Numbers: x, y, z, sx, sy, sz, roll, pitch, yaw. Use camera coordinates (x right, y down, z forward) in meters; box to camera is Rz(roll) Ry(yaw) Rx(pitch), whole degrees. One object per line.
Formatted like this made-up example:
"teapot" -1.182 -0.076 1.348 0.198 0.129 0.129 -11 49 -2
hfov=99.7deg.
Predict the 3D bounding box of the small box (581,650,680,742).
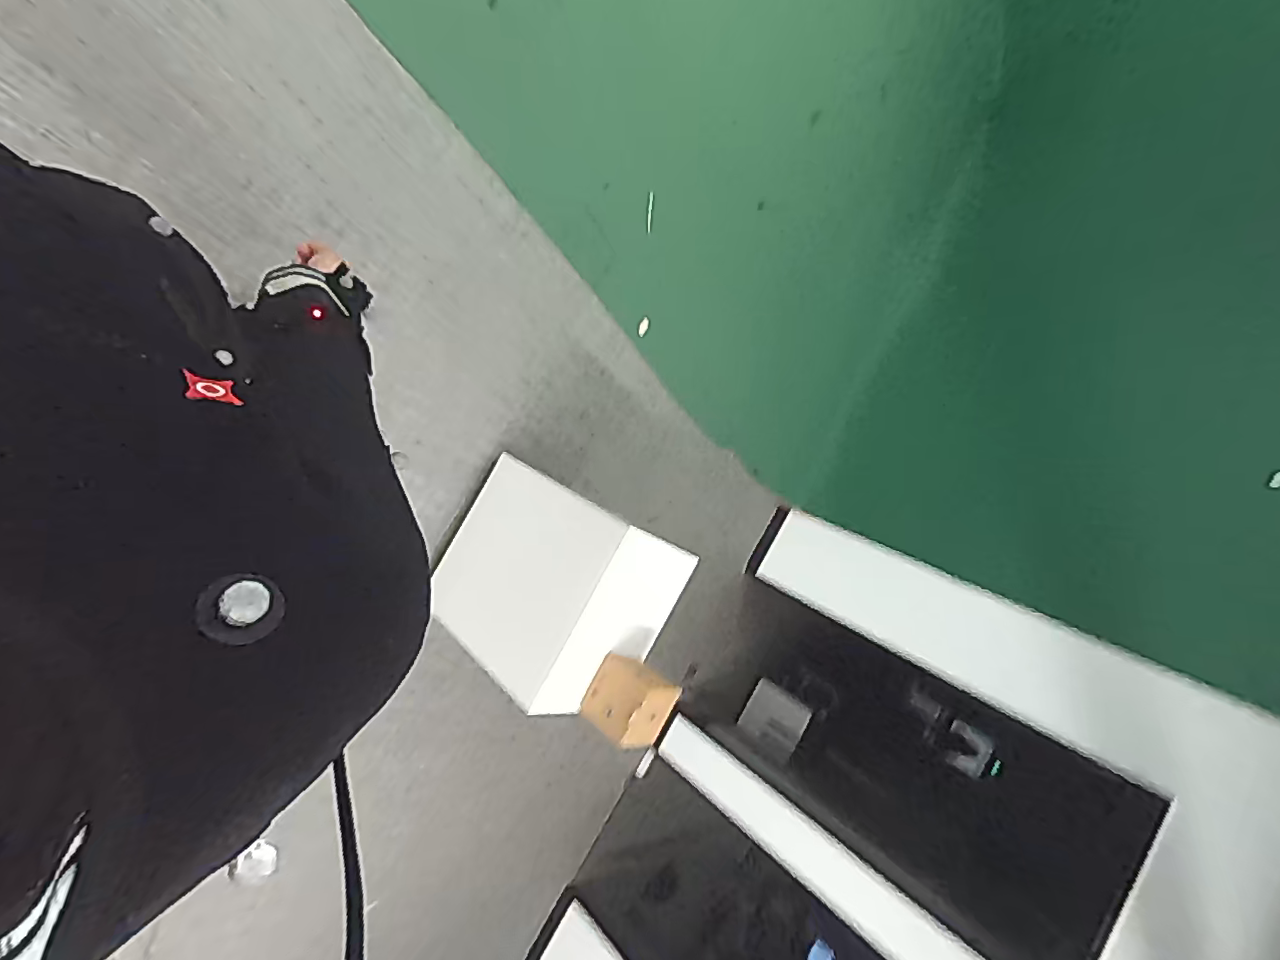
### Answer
"small box" -0.027 0.580 1.466 0.179 0.176 0.168 33 85 -54
